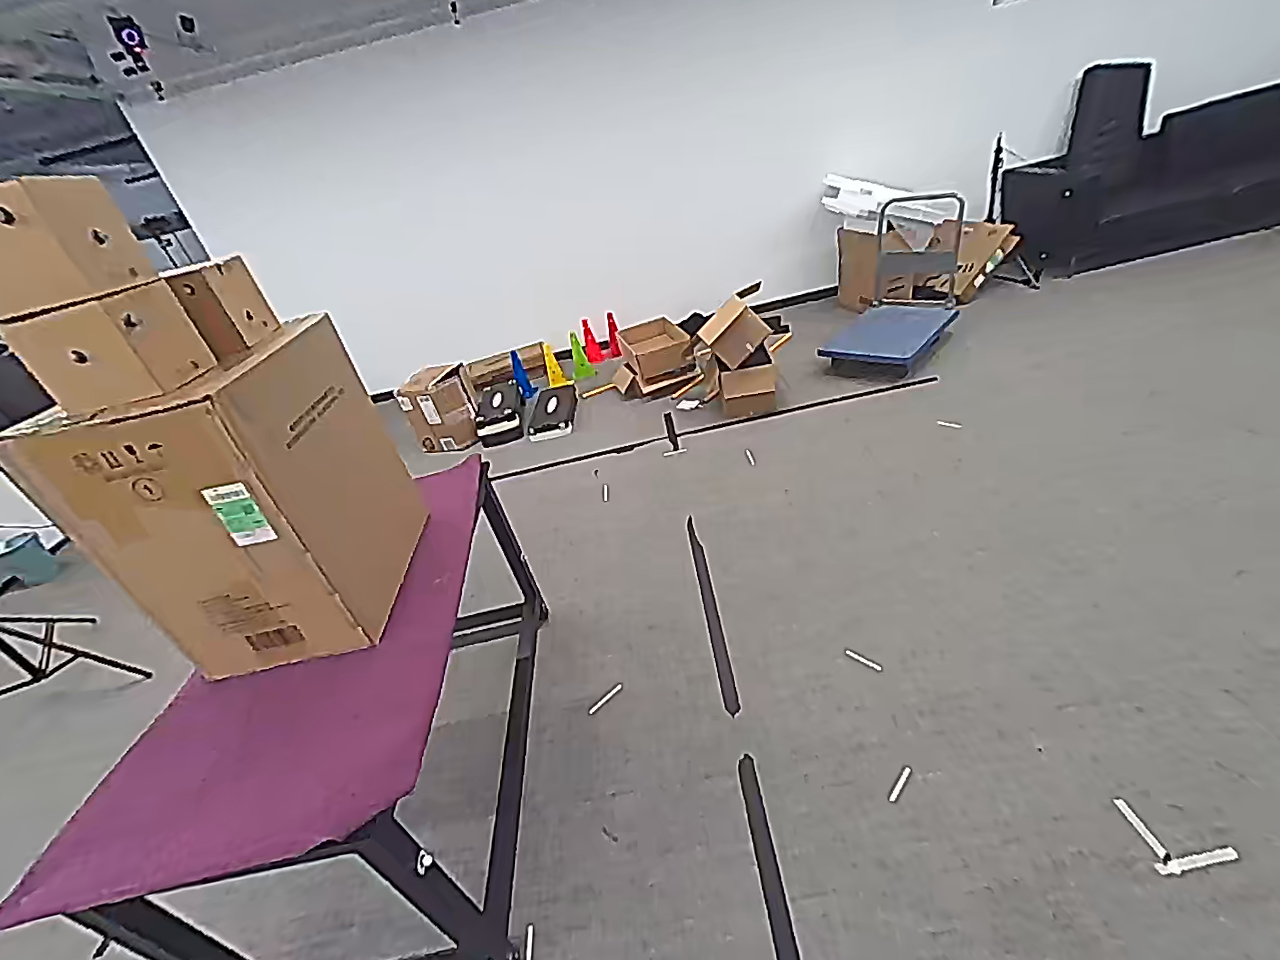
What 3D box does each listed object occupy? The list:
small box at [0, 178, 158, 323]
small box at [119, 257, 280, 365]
[{"bbox_3d":[-0.943,-0.368,0.861,0.179,0.176,0.168,-16,30,-2],"label":"small box"},{"bbox_3d":[-0.934,-0.362,1.167,0.179,0.176,0.168,-14,33,-1],"label":"small box"}]
